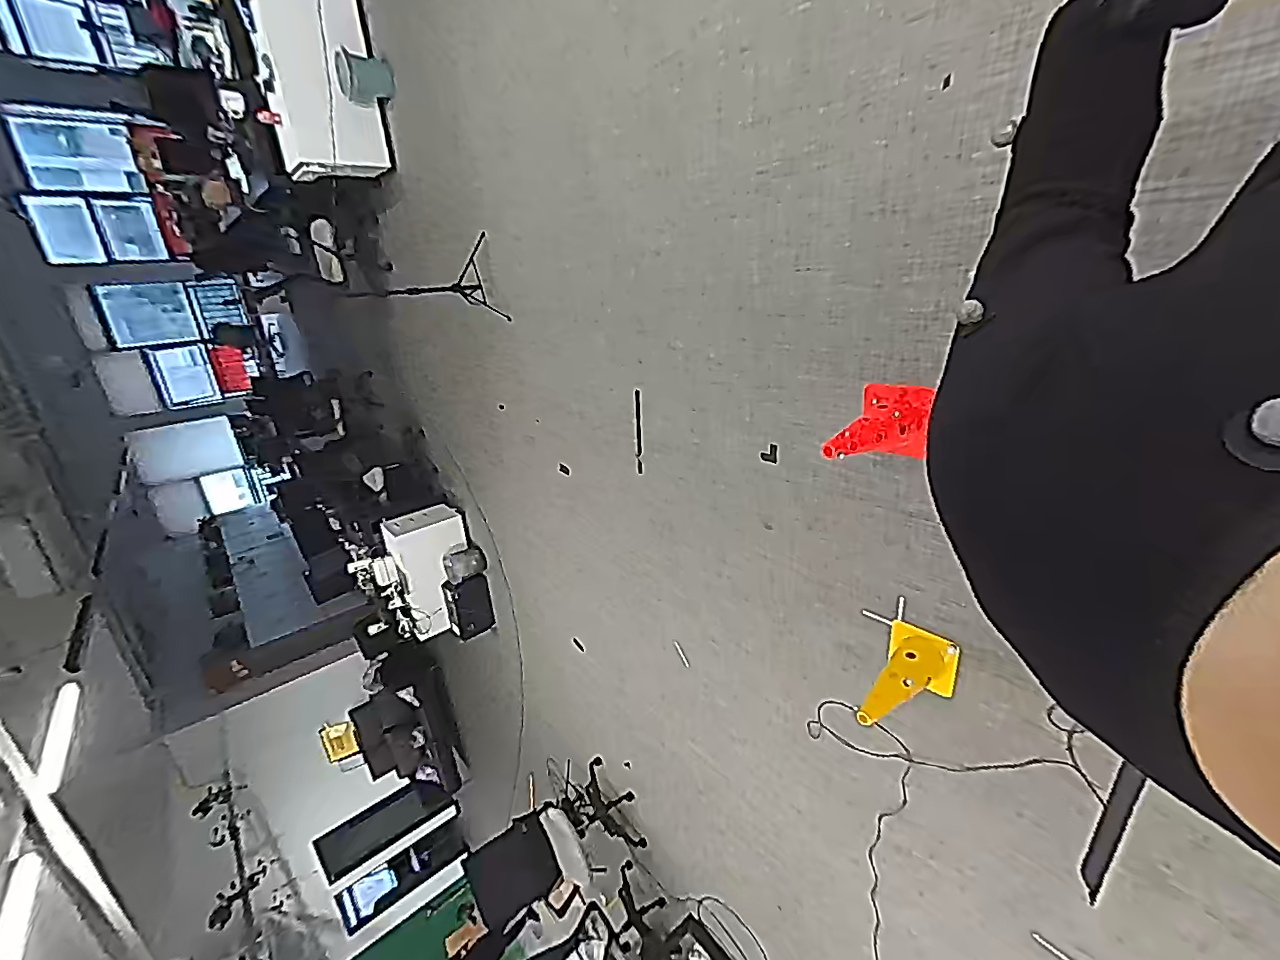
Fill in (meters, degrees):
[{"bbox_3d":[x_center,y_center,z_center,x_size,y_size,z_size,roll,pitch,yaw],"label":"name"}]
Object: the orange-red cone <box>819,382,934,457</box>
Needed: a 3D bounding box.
[{"bbox_3d":[0.593,-0.122,1.429,0.198,0.360,0.199,19,122,48],"label":"orange-red cone"}]
